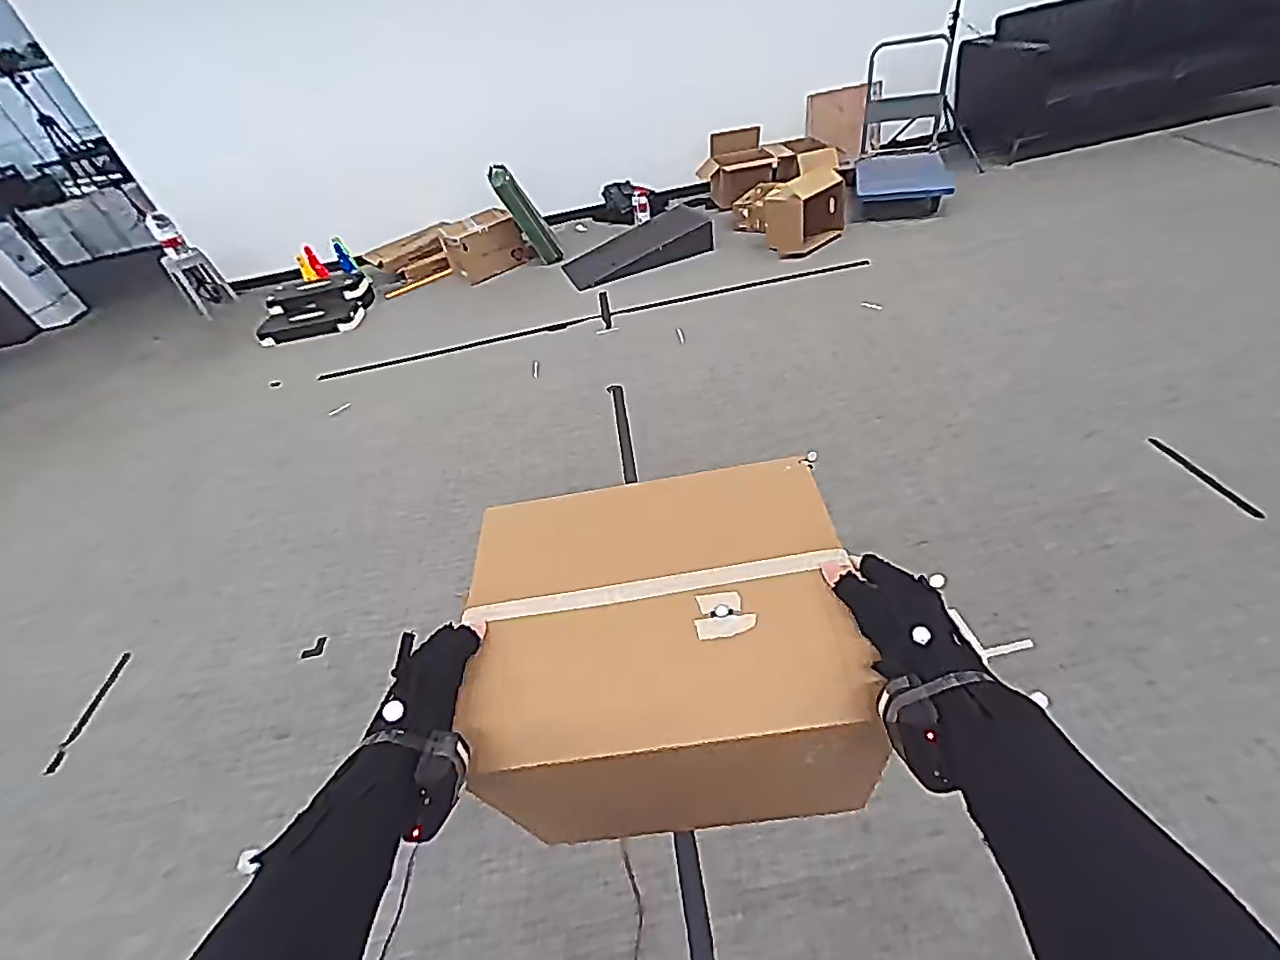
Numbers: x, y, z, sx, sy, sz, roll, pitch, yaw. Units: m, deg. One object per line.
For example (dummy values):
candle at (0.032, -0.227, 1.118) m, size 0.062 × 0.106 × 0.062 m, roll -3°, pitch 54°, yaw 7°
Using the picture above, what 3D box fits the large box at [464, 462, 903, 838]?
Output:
large box at (0.043, 0.219, 0.684) m, size 0.408 × 0.320 × 0.320 m, roll -9°, pitch 46°, yaw 3°
